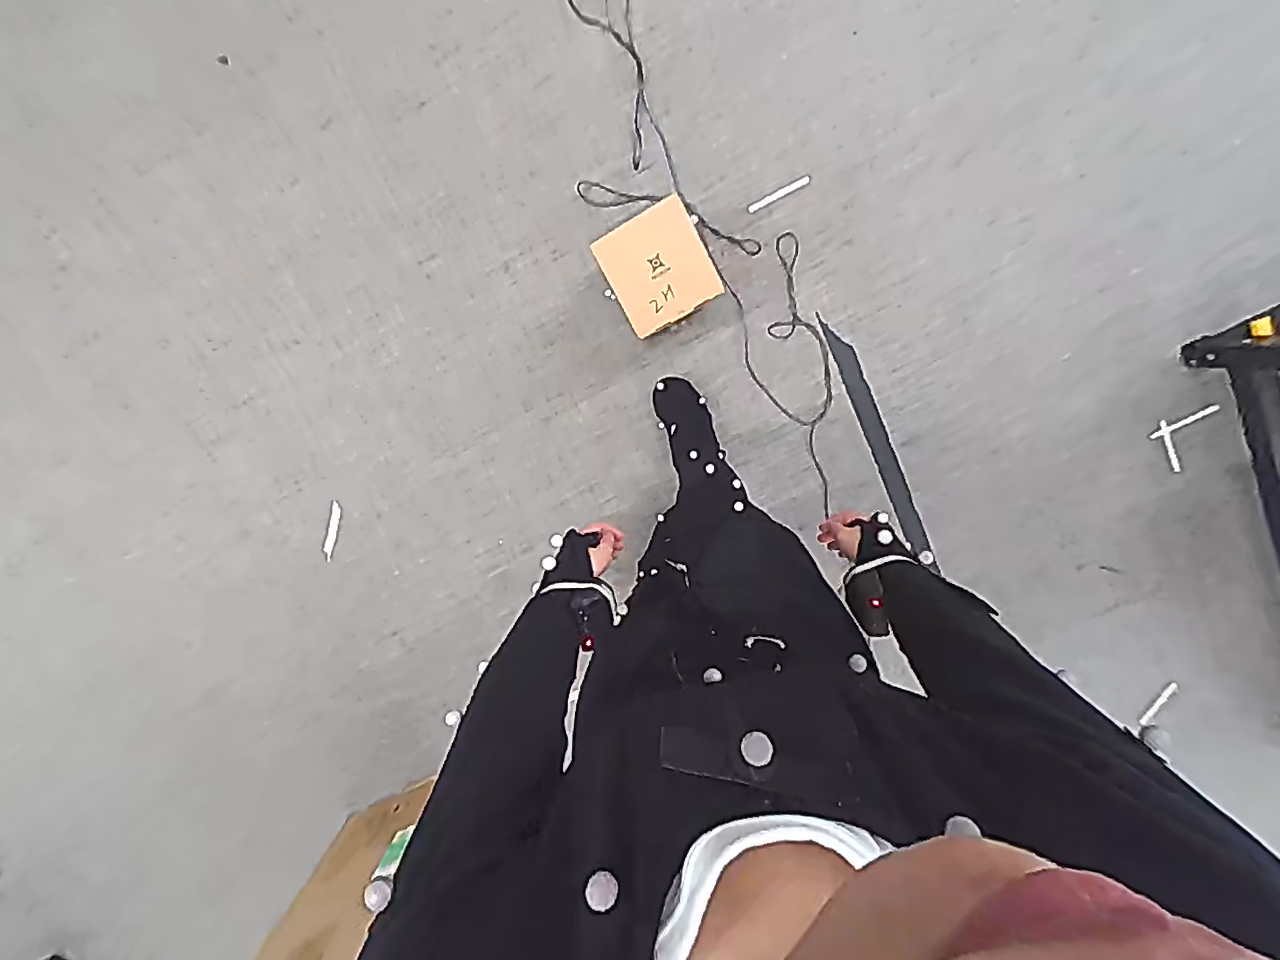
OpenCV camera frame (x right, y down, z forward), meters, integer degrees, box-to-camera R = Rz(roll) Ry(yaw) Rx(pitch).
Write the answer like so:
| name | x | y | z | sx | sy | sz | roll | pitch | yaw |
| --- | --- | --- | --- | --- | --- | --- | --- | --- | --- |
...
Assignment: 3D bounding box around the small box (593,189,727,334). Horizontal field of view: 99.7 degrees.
| name | x | y | z | sx | sy | sz | roll | pitch | yaw |
| --- | --- | --- | --- | --- | --- | --- | --- | --- | --- |
| small box | 0.034 | -0.372 | 0.960 | 0.168 | 0.176 | 0.179 | -28 | 102 | 8 |
